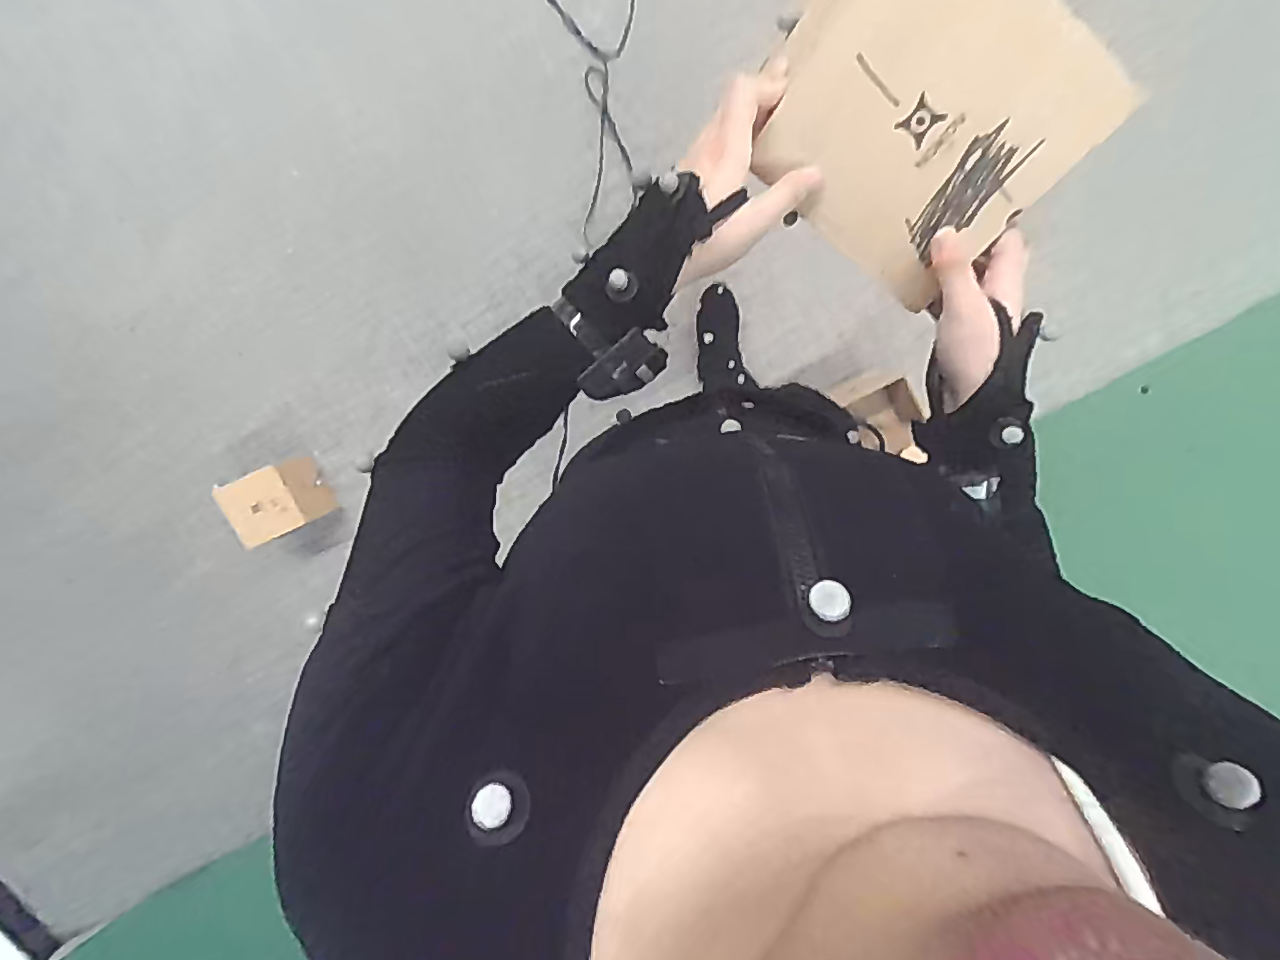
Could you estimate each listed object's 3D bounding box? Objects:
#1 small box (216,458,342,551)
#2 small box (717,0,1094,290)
[{"bbox_3d":[-0.926,0.057,1.403,0.179,0.176,0.168,-24,101,5],"label":"small box"},{"bbox_3d":[0.179,-0.289,0.421,0.179,0.176,0.168,29,124,-19],"label":"small box"}]
